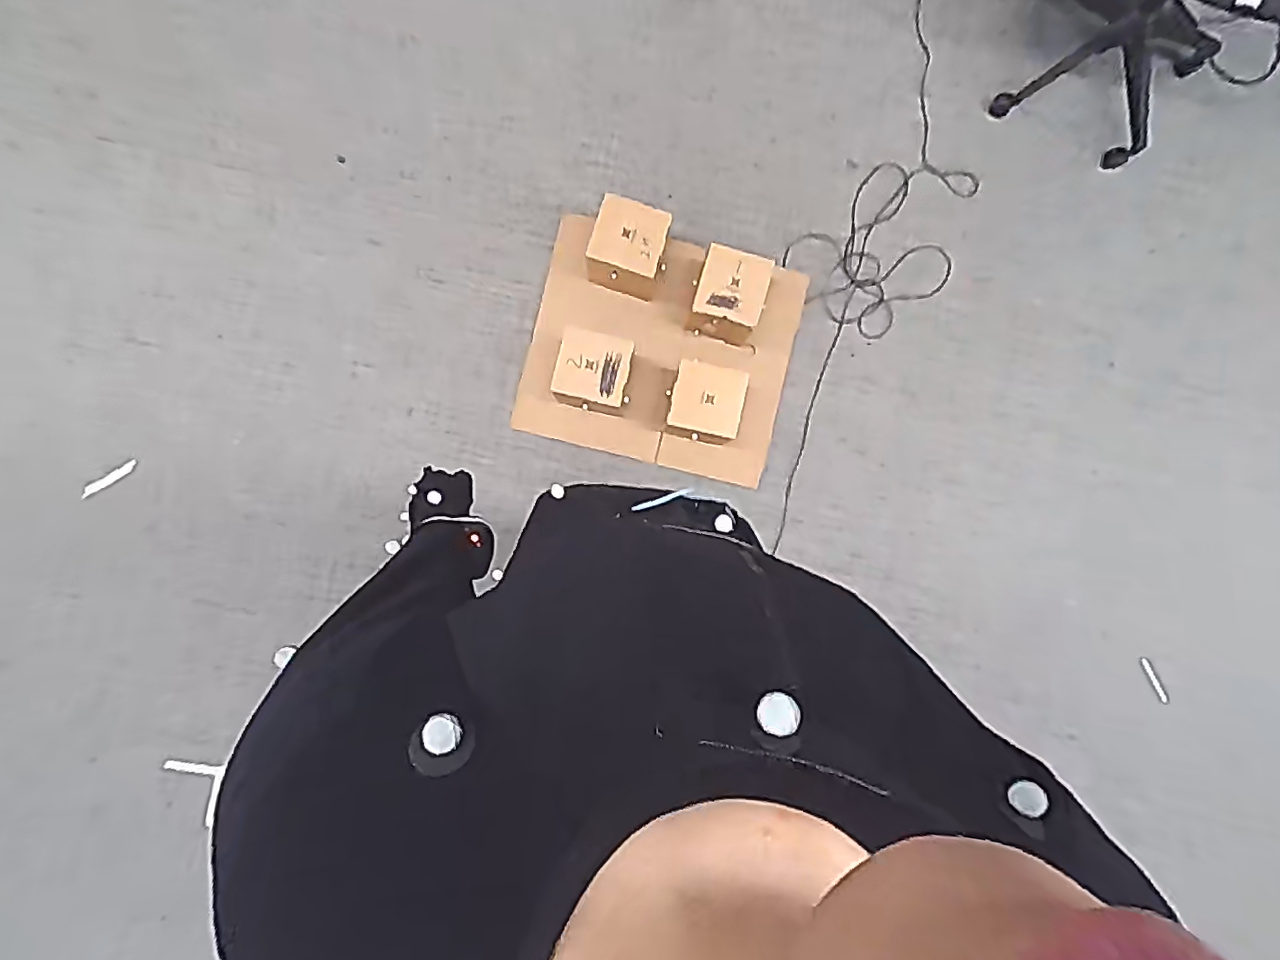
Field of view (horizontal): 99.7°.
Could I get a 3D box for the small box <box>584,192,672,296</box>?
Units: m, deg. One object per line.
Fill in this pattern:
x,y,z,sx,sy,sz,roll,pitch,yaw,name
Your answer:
-0.032,-0.597,1.393,0.179,0.176,0.168,19,89,-2,small box

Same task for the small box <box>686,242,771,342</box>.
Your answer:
0.221,-0.478,1.406,0.168,0.176,0.179,17,88,-1,small box
